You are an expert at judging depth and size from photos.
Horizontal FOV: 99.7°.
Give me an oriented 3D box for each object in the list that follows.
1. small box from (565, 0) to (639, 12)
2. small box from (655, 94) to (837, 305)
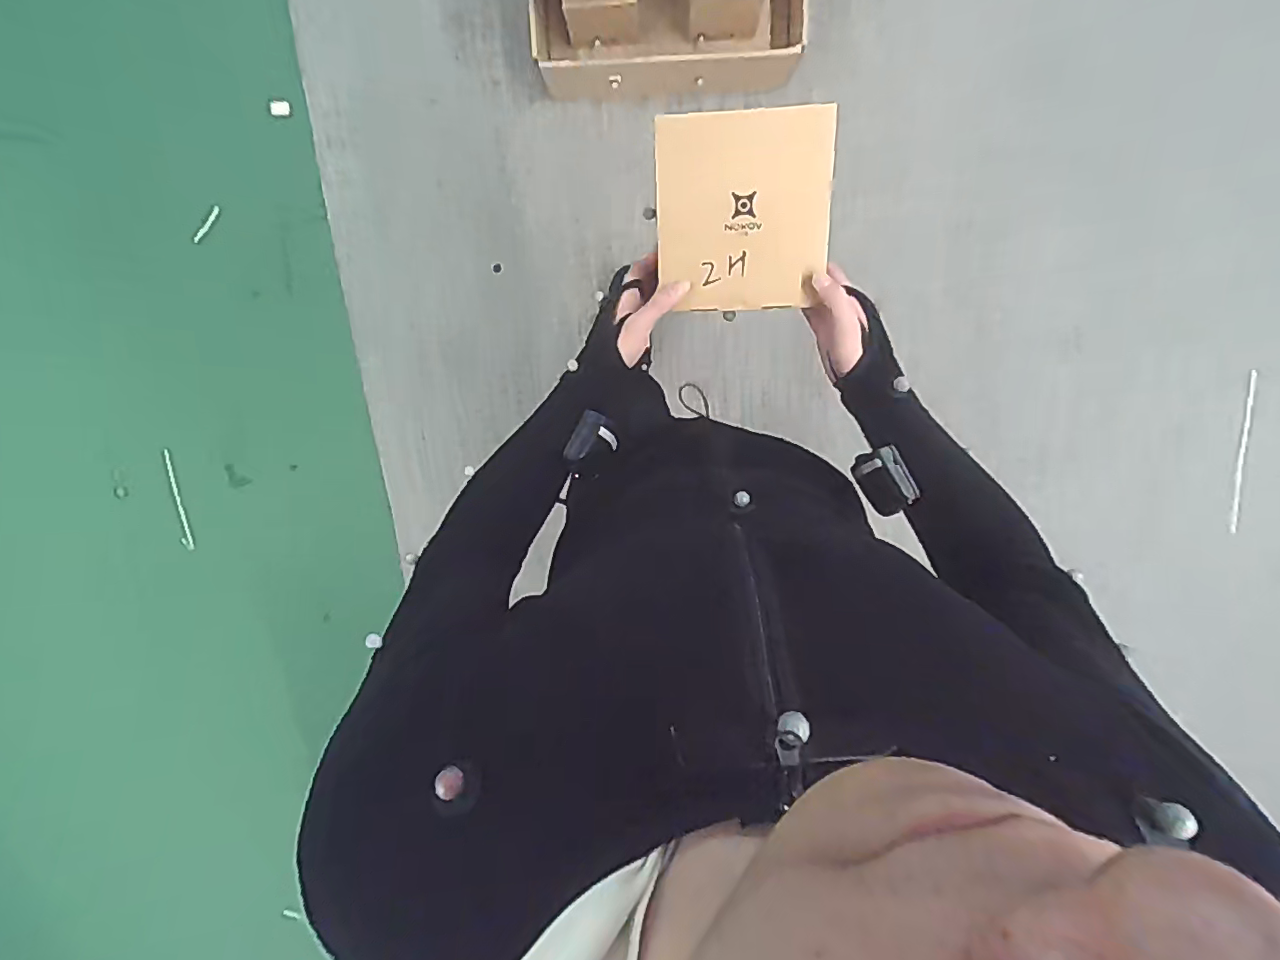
[{"bbox_3d":[-0.088,-1.089,1.074,0.168,0.176,0.179,-4,100,3],"label":"small box"},{"bbox_3d":[0.100,-0.283,0.583,0.168,0.176,0.179,0,109,5],"label":"small box"}]
